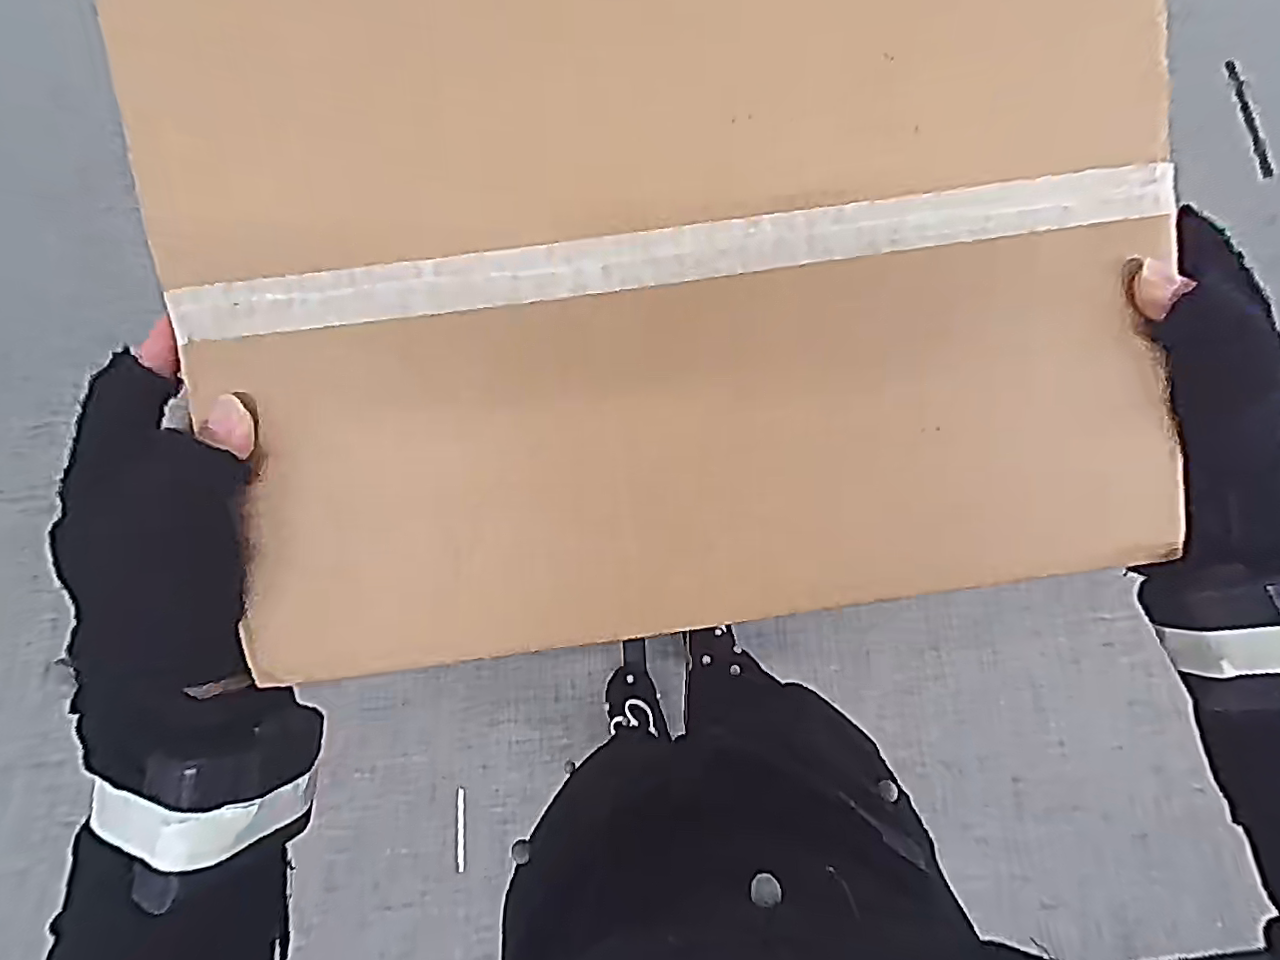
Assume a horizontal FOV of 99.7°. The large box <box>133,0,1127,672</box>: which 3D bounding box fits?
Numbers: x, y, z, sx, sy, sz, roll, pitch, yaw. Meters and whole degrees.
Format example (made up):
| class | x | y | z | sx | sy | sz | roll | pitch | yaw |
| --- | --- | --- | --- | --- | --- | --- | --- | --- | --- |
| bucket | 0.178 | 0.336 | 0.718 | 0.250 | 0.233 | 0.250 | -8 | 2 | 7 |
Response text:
| class | x | y | z | sx | sy | sz | roll | pitch | yaw |
| --- | --- | --- | --- | --- | --- | --- | --- | --- | --- |
| large box | 0.010 | -0.108 | 0.380 | 0.408 | 0.320 | 0.320 | -8 | 96 | -2 |
